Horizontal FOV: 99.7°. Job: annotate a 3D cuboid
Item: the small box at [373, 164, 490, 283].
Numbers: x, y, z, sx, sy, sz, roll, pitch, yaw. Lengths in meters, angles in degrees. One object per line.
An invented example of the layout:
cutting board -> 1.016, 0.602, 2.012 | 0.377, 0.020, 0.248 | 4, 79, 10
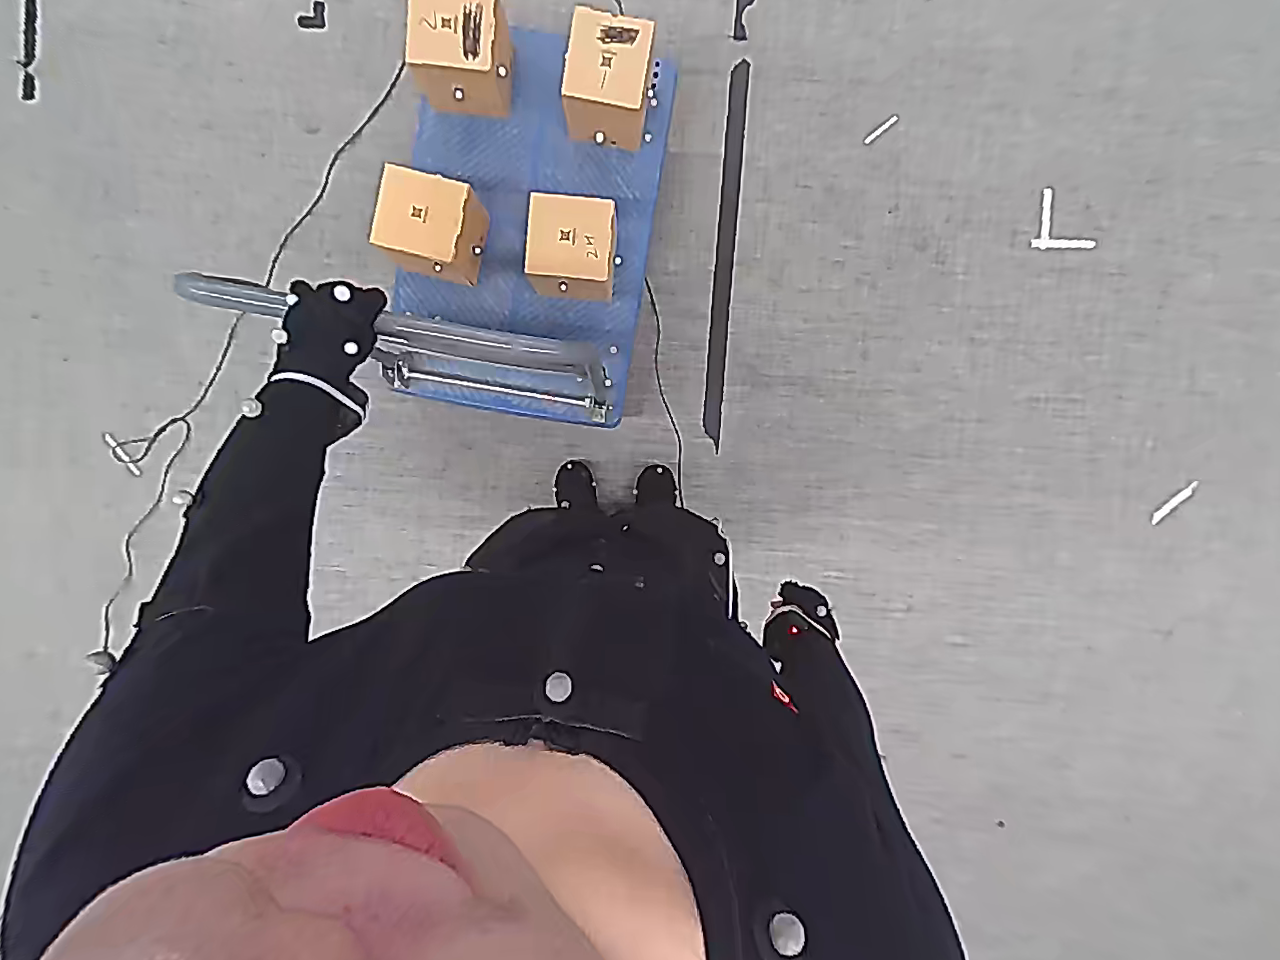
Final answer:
small box -> -0.447, -0.549, 1.183 | 0.179, 0.176, 0.168 | 13, 93, -3

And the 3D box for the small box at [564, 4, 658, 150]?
small box -> -0.061, -0.857, 1.166 | 0.168, 0.176, 0.179 | 10, 95, -1

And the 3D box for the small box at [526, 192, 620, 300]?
small box -> -0.141, -0.505, 1.188 | 0.179, 0.176, 0.168 | 5, 94, -1
